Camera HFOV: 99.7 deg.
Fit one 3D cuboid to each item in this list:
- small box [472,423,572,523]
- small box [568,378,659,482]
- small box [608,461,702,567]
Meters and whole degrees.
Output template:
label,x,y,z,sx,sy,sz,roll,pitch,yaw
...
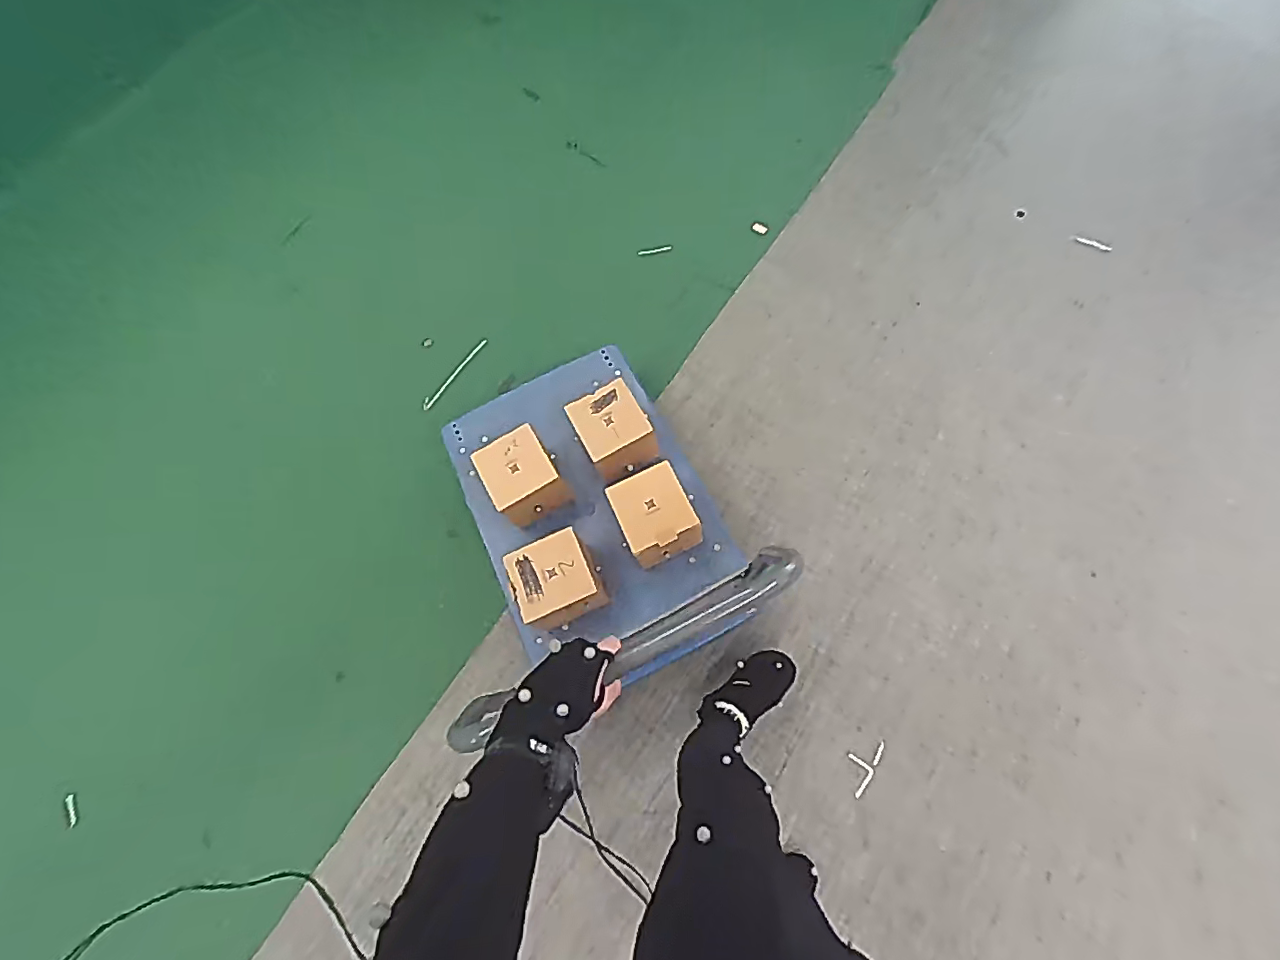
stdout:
label,x,y,z,sx,sy,sz,roll,pitch,yaw
small box,-0.291,-0.007,1.372,0.168,0.176,0.179,-30,69,-5
small box,-0.063,-0.122,1.386,0.168,0.176,0.179,-28,70,-3
small box,0.038,0.088,1.297,0.168,0.176,0.179,-25,70,-2
